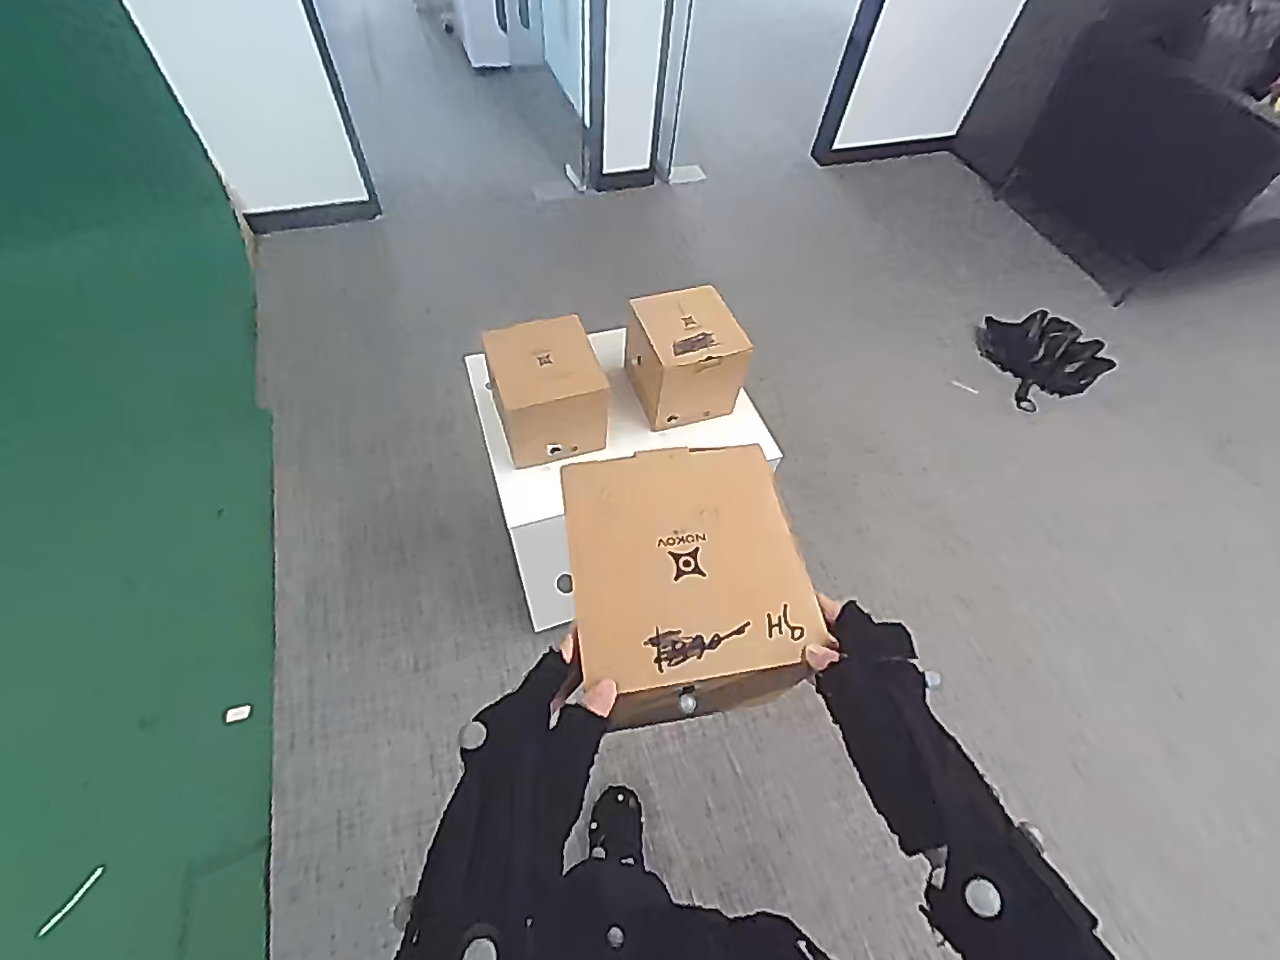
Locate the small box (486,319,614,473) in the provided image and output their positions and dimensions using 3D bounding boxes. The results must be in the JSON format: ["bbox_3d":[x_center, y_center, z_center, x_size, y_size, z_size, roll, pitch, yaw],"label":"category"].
[{"bbox_3d":[-0.153,-0.141,0.927,0.168,0.176,0.179,-17,62,-14],"label":"small box"}]

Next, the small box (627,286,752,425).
[{"bbox_3d":[0.081,-0.220,0.990,0.168,0.176,0.179,-16,59,-13],"label":"small box"}]

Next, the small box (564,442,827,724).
[{"bbox_3d":[0.028,0.092,0.461,0.168,0.176,0.179,-8,60,-7],"label":"small box"}]
